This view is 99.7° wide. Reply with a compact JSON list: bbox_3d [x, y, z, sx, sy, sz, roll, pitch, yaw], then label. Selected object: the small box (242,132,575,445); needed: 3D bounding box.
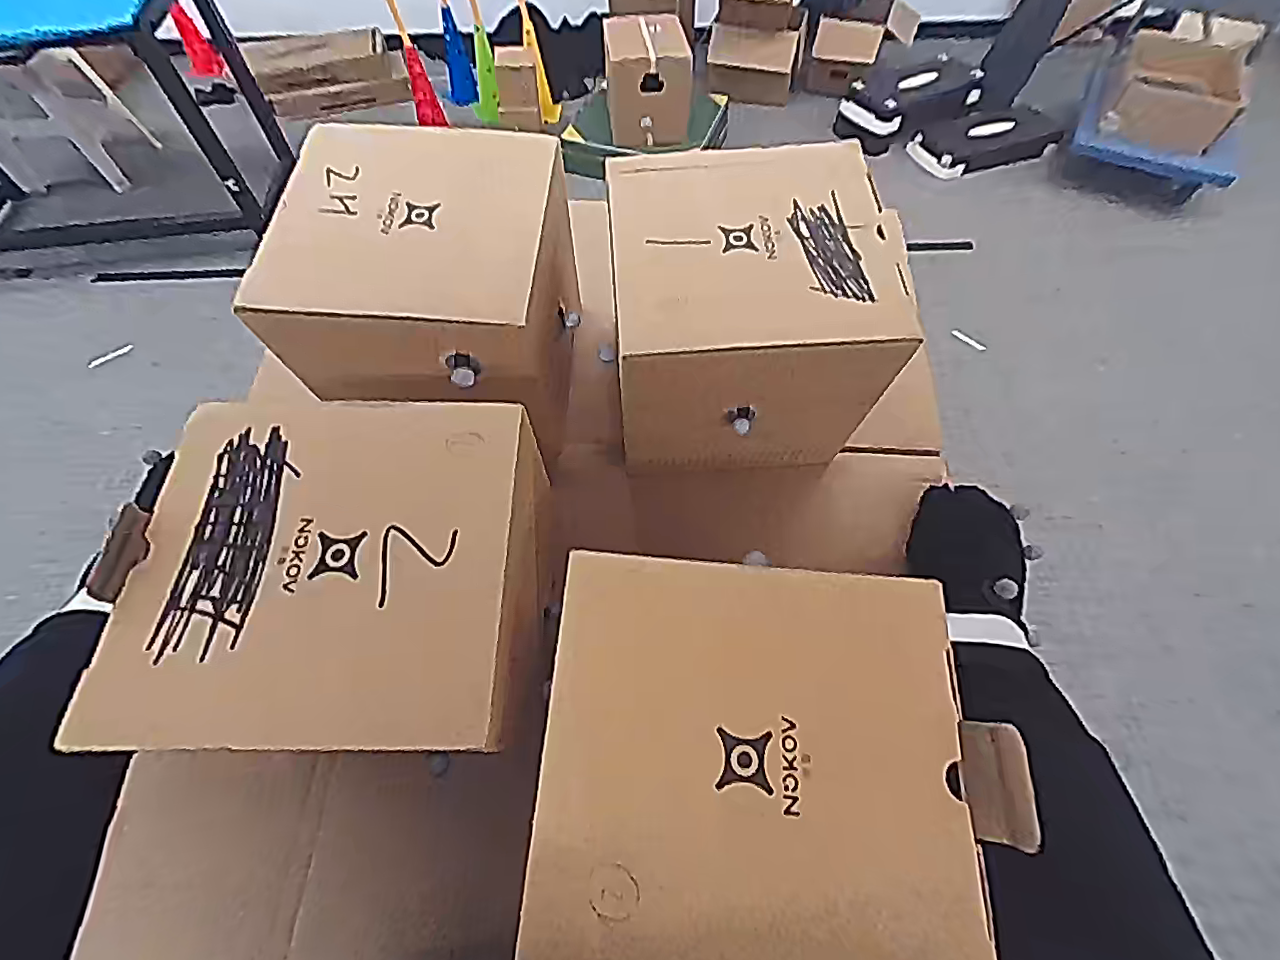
[{"bbox_3d":[-0.151,-0.138,0.431,0.179,0.176,0.168,3,66,2],"label":"small box"}]
